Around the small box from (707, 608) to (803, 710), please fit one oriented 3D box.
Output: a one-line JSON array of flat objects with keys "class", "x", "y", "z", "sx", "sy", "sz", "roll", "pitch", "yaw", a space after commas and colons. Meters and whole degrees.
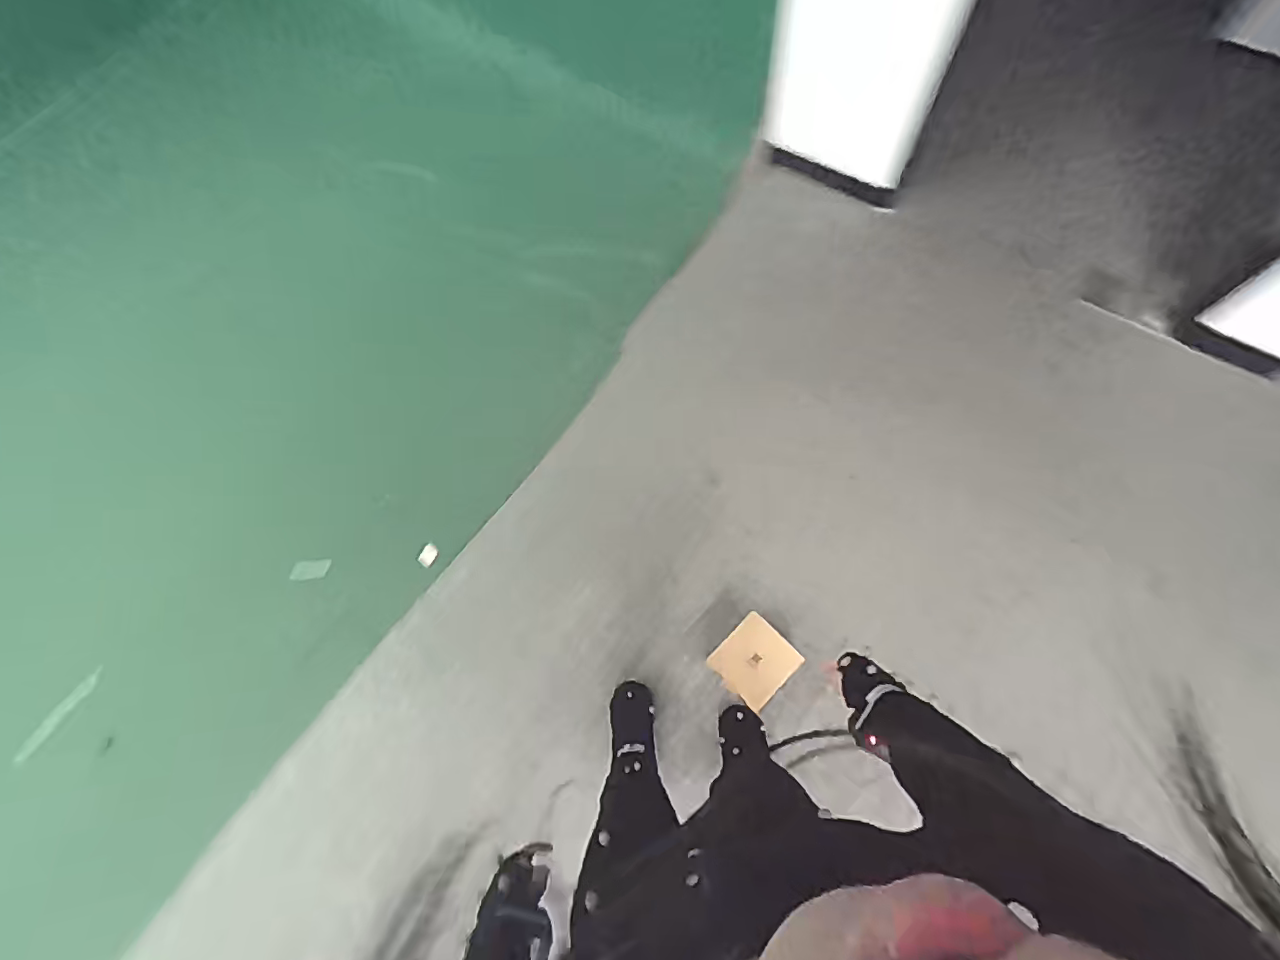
[{"class": "small box", "x": 0.281, "y": 0.451, "z": 1.372, "sx": 0.179, "sy": 0.176, "sz": 0.168, "roll": -43, "pitch": 73, "yaw": -9}]
